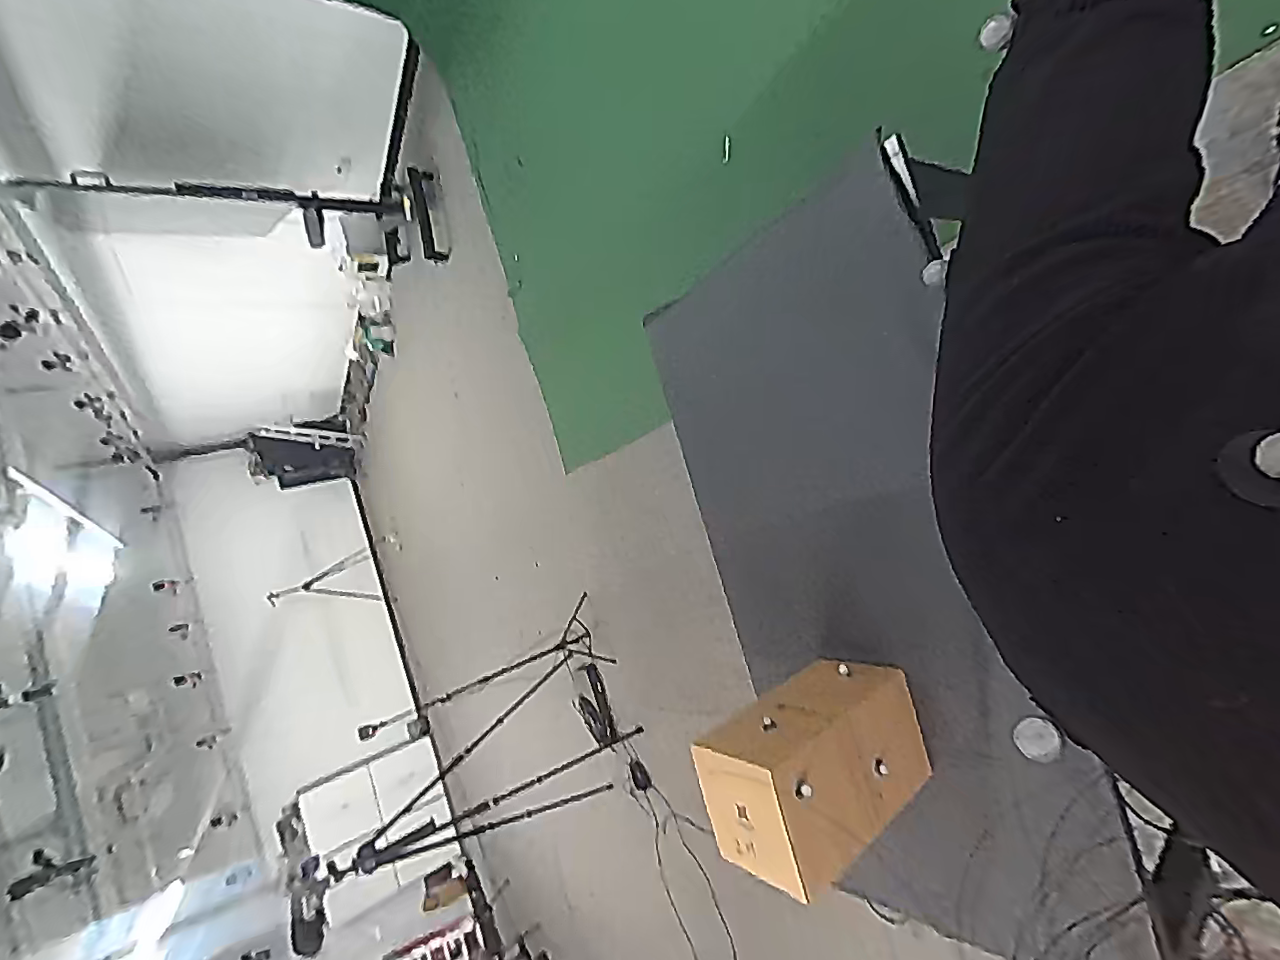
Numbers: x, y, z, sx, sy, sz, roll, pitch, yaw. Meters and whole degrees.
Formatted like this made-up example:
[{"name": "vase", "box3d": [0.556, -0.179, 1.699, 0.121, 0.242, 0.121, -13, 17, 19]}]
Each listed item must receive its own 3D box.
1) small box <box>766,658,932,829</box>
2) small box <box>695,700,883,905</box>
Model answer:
[{"name": "small box", "box3d": [0.340, 0.411, 0.875, 0.168, 0.176, 0.179, -18, 86, 54]}, {"name": "small box", "box3d": [0.212, 0.437, 0.774, 0.168, 0.176, 0.179, -20, 85, 54]}]
